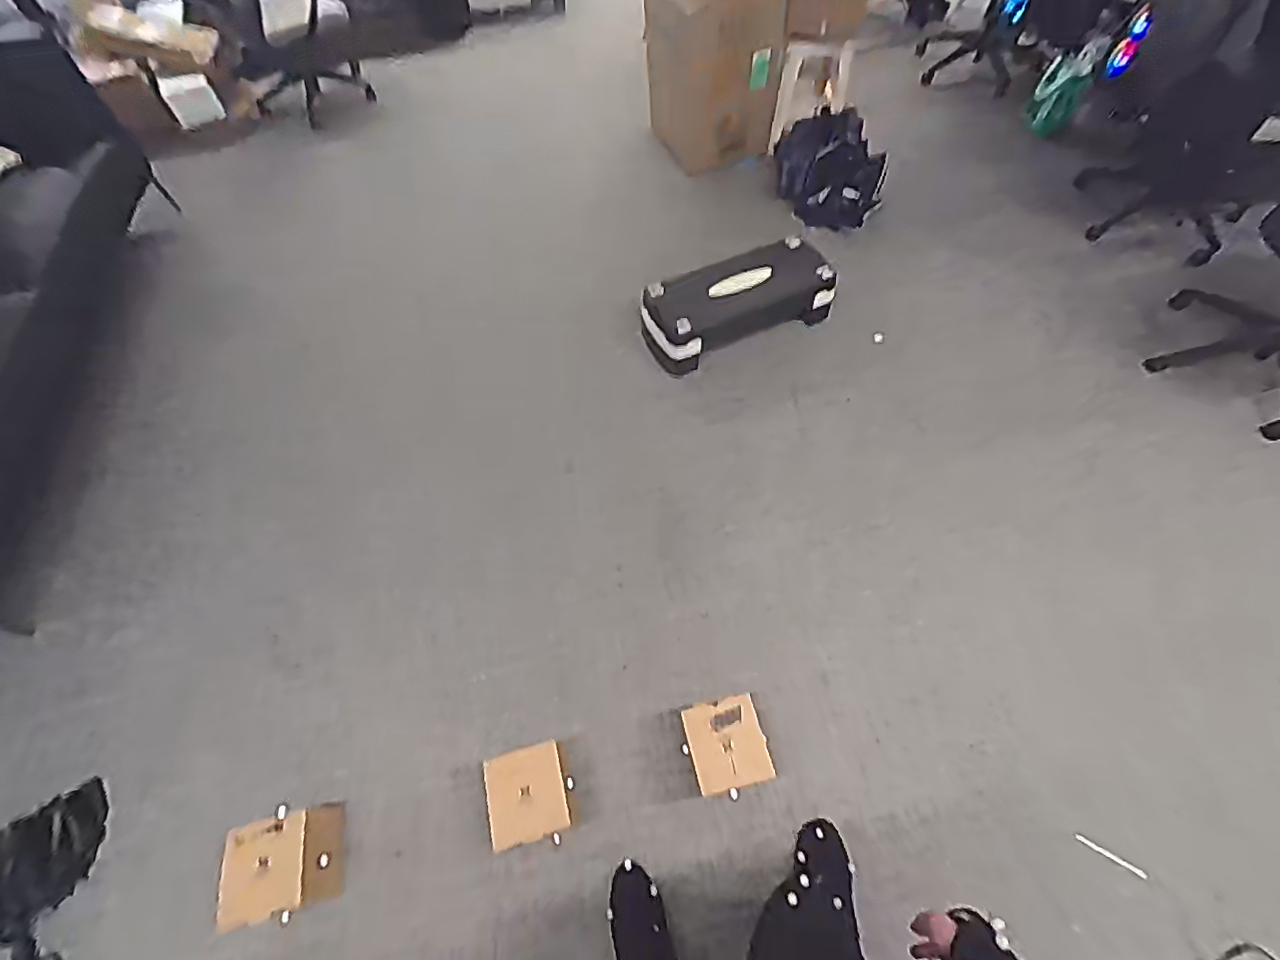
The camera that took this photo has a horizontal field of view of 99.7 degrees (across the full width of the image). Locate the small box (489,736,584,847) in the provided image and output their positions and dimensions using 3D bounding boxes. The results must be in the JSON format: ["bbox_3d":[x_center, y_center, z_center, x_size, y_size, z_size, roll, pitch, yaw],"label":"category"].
[{"bbox_3d":[-0.231,0.706,1.231,0.168,0.176,0.179,-15,58,-6],"label":"small box"}]

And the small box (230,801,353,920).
[{"bbox_3d":[-0.758,0.829,1.196,0.168,0.176,0.179,-14,60,-5],"label":"small box"}]

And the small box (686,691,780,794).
[{"bbox_3d":[0.204,0.610,1.247,0.168,0.176,0.179,-14,59,-2],"label":"small box"}]
